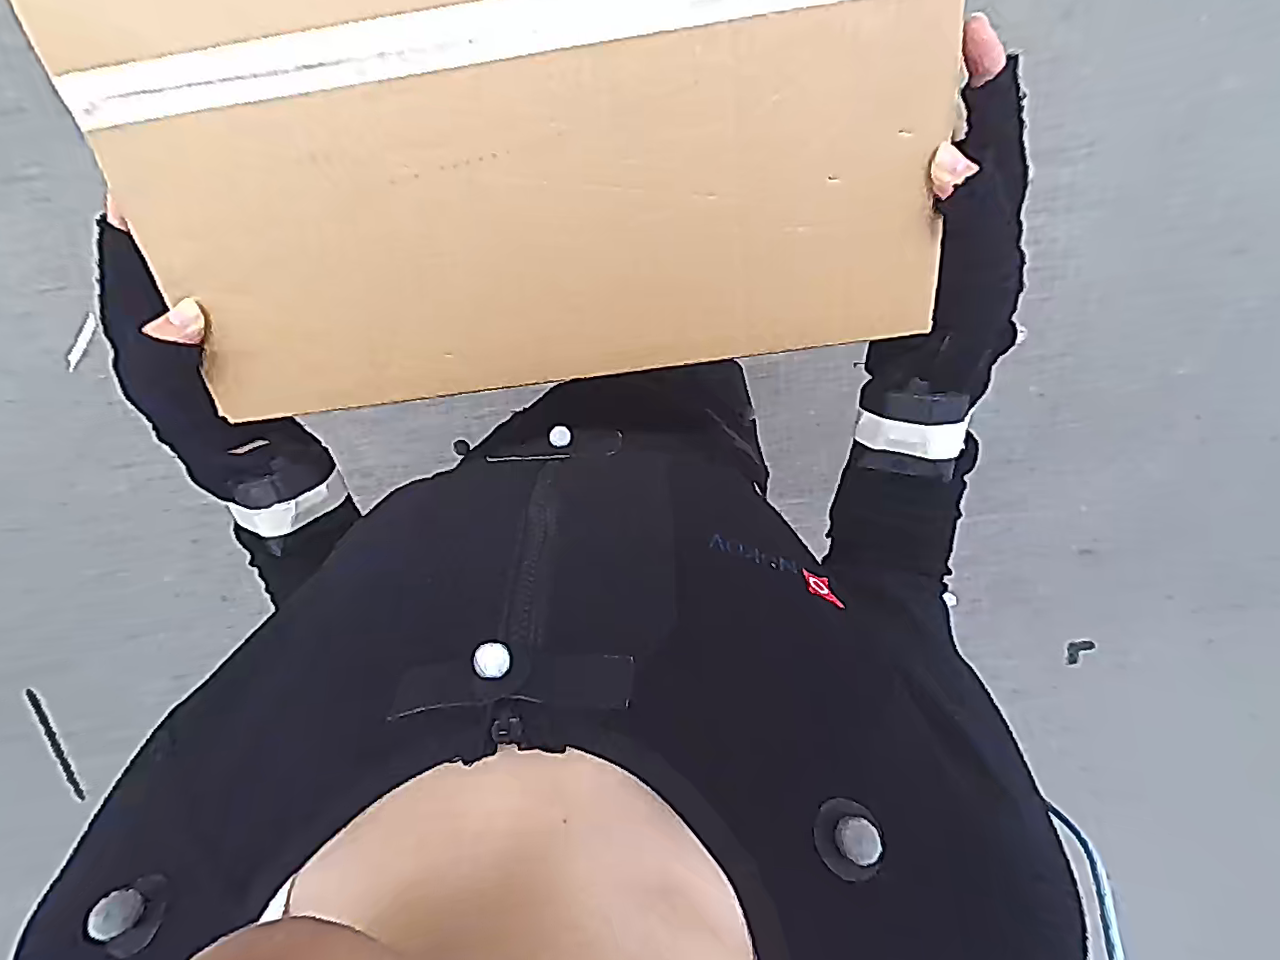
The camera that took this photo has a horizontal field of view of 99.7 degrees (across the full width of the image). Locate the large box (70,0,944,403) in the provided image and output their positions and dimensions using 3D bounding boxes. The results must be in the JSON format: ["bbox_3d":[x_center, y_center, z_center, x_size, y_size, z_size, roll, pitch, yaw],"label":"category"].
[{"bbox_3d":[-0.061,-0.271,0.386,0.408,0.320,0.320,-7,116,3],"label":"large box"}]
